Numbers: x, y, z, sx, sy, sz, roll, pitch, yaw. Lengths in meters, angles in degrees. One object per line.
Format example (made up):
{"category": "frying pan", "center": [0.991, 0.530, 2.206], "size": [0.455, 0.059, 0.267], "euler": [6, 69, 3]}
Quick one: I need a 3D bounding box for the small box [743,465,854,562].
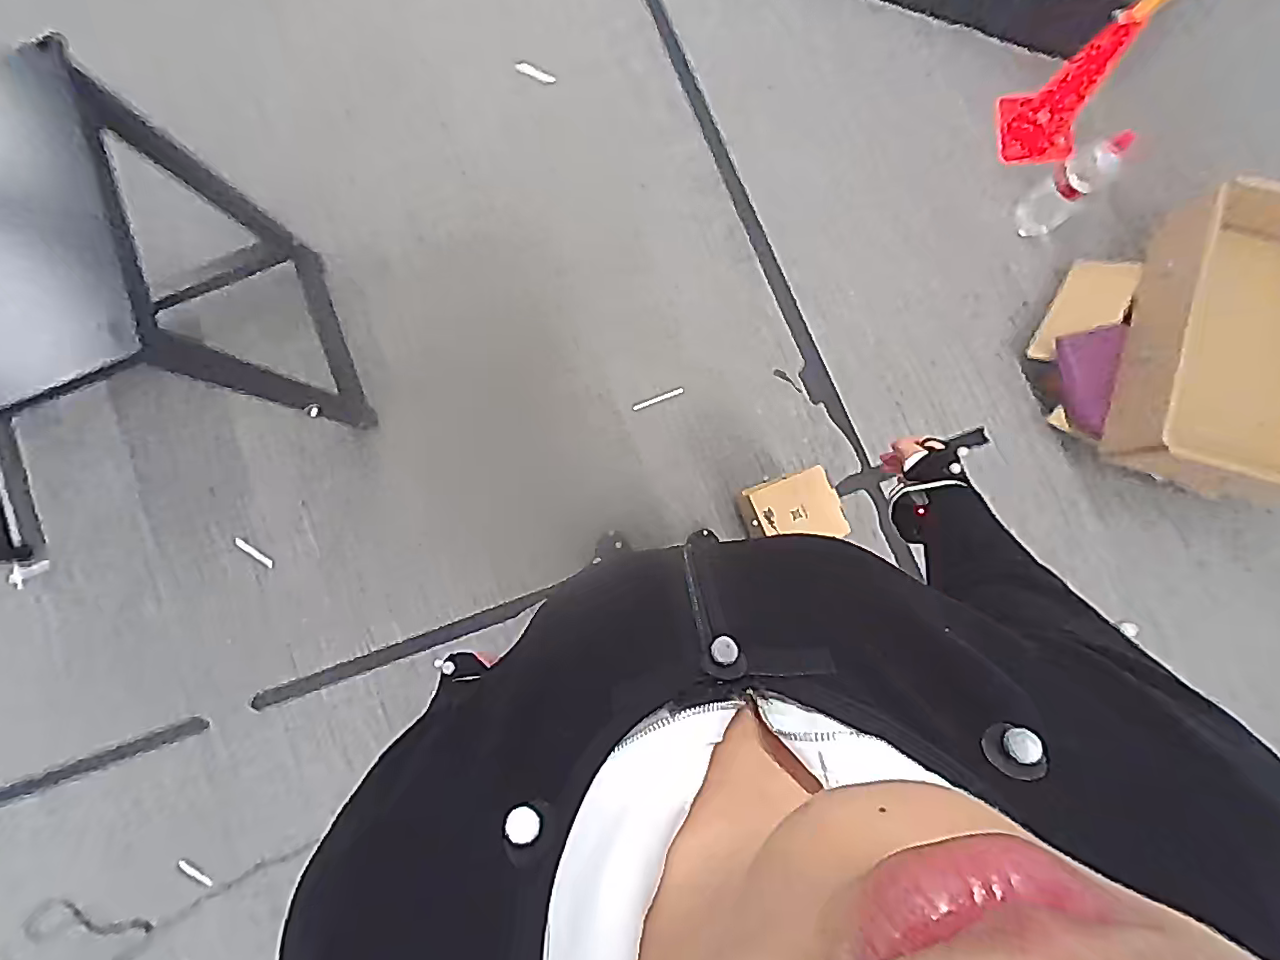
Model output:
{"category": "small box", "center": [0.357, 0.077, 1.254], "size": [0.179, 0.176, 0.168], "euler": [-23, 84, 1]}

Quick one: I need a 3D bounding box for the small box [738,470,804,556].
{"category": "small box", "center": [0.369, 0.088, 1.418], "size": [0.168, 0.176, 0.179], "euler": [-21, 83, 1]}
